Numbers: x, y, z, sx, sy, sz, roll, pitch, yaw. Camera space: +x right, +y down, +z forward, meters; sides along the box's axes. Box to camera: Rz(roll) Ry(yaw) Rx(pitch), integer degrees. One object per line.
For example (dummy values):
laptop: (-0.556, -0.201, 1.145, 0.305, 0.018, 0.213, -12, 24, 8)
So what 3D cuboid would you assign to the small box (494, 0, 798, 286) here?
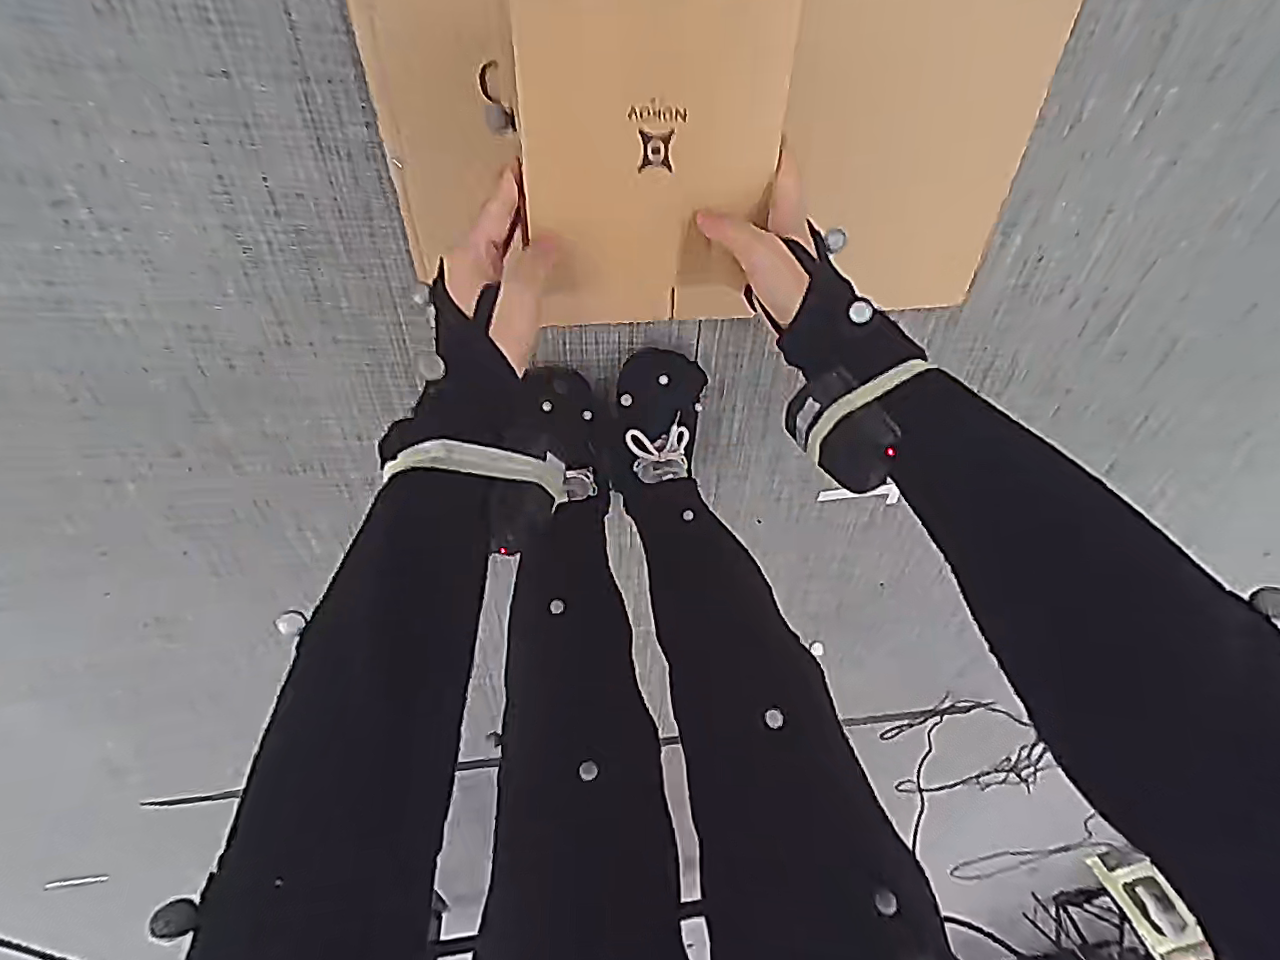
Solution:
small box: (-0.011, -0.253, 0.390, 0.168, 0.176, 0.179, -7, 125, -13)
